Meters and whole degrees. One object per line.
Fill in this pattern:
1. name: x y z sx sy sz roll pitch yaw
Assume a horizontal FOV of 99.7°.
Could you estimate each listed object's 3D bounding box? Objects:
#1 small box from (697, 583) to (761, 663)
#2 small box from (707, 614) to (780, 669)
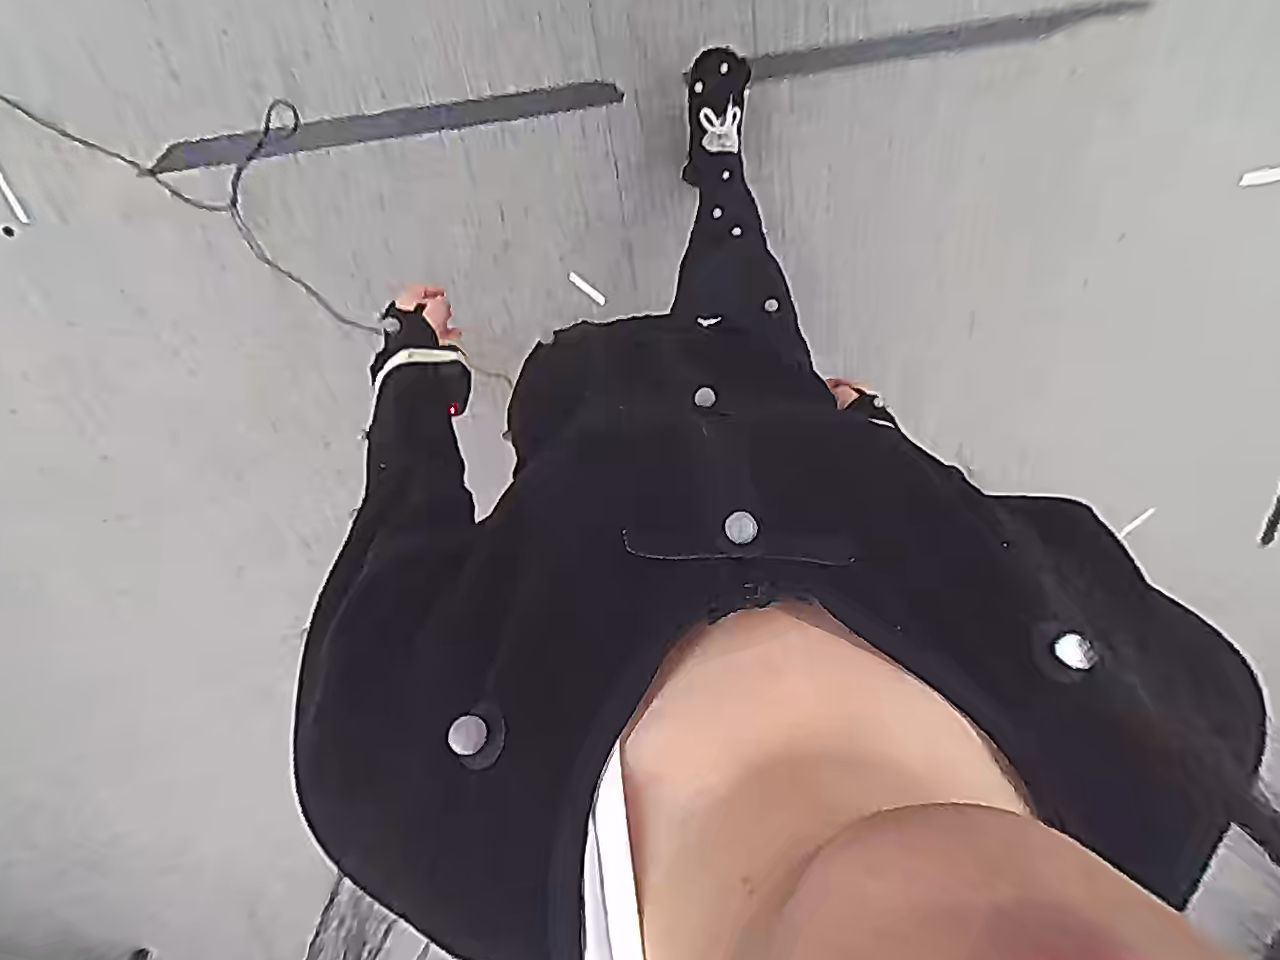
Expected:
1. small box: 0.283 0.444 1.696 0.168 0.176 0.179 -14 116 1
2. small box: 0.300 0.516 1.549 0.168 0.176 0.179 -15 116 1
